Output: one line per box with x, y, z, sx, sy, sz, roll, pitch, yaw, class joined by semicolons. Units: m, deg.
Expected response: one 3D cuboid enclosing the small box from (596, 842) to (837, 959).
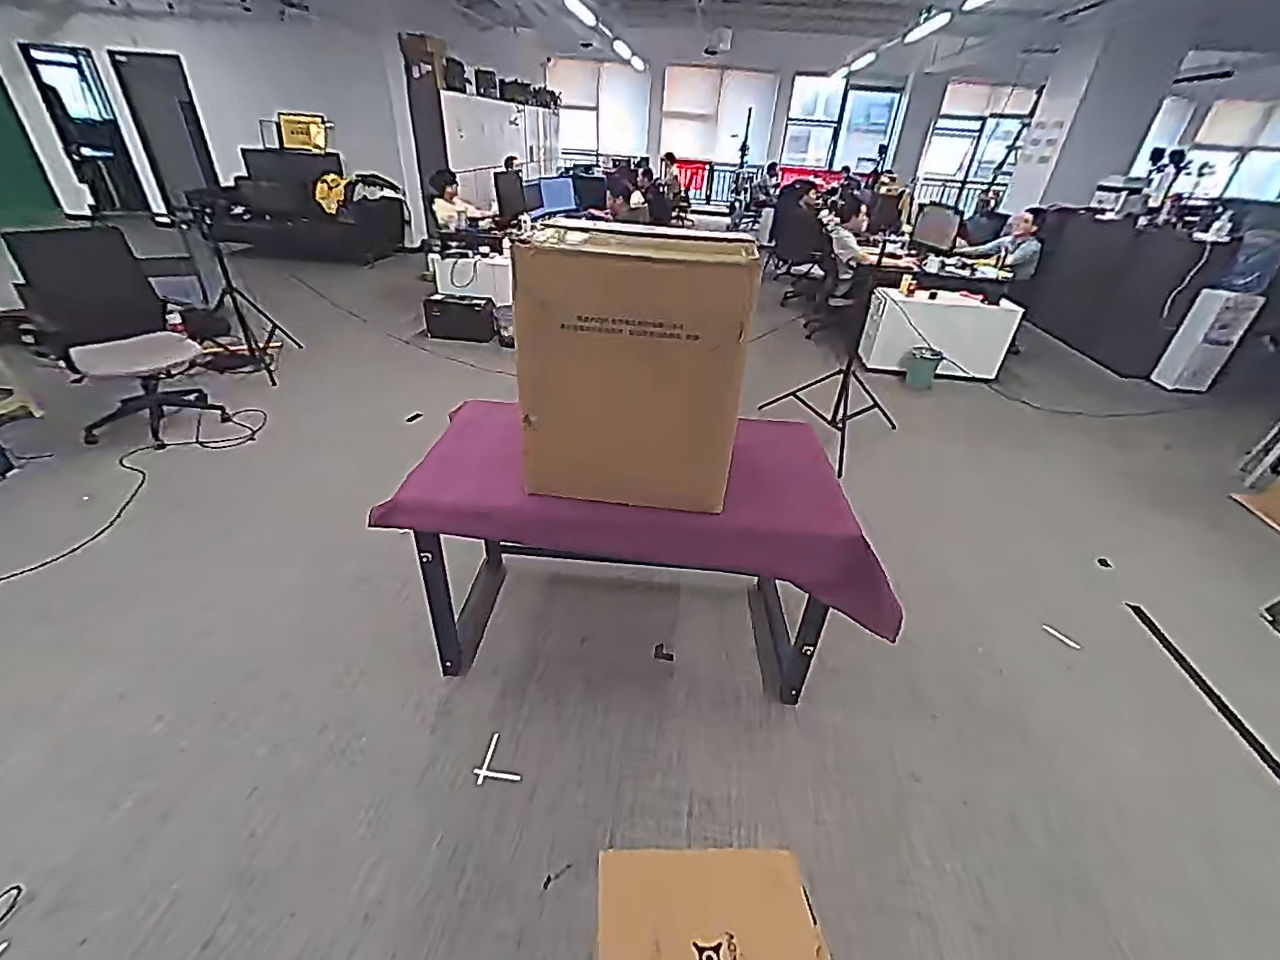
0.054;0.422;0.424;0.179;0.176;0.168;1;20;-5;small box
